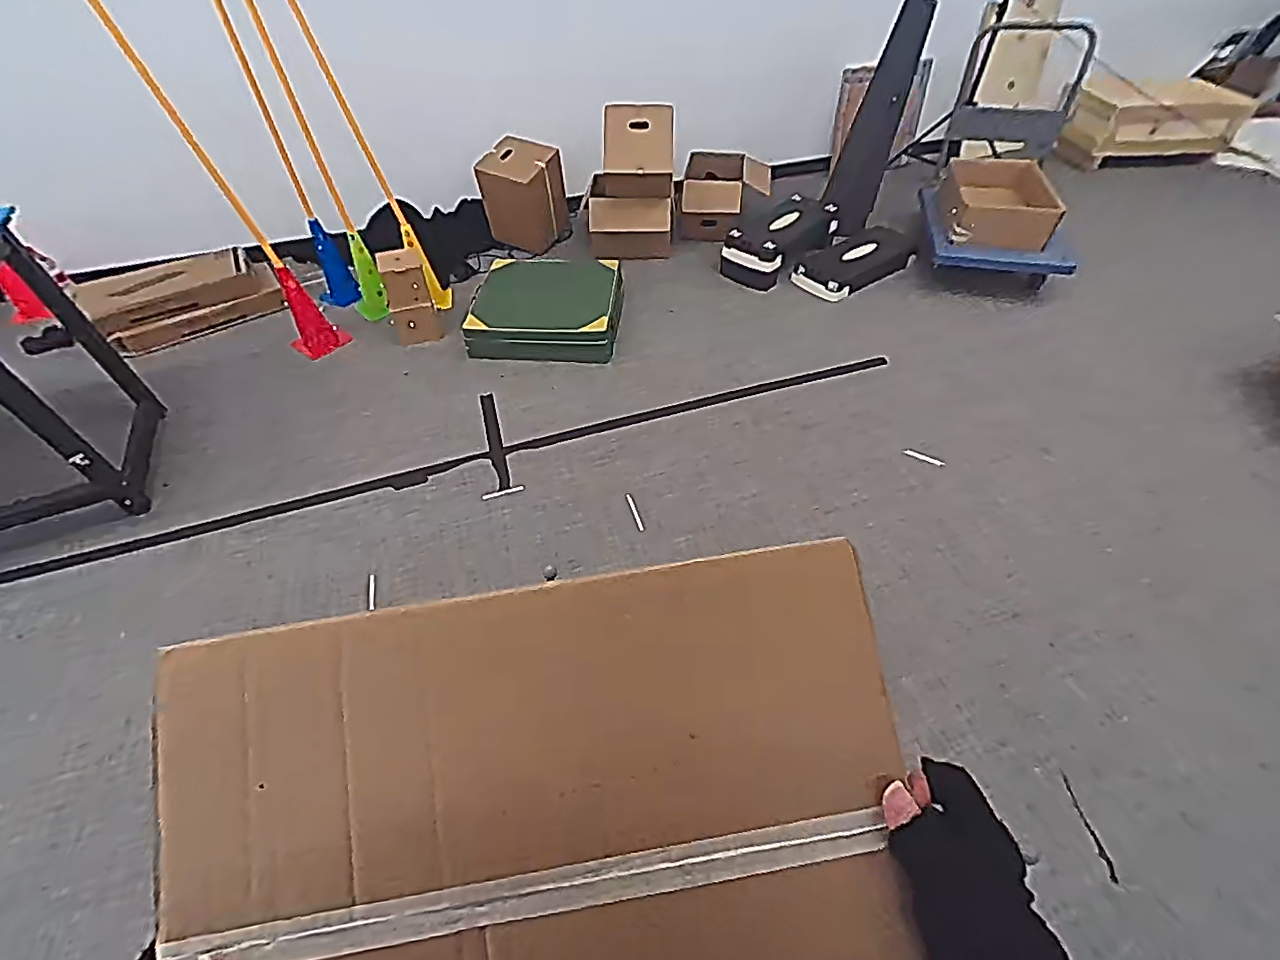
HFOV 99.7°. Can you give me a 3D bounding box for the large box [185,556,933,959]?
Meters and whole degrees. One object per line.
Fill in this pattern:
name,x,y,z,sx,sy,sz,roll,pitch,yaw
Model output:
large box,-0.047,0.252,0.449,0.408,0.320,0.320,-9,80,-3
